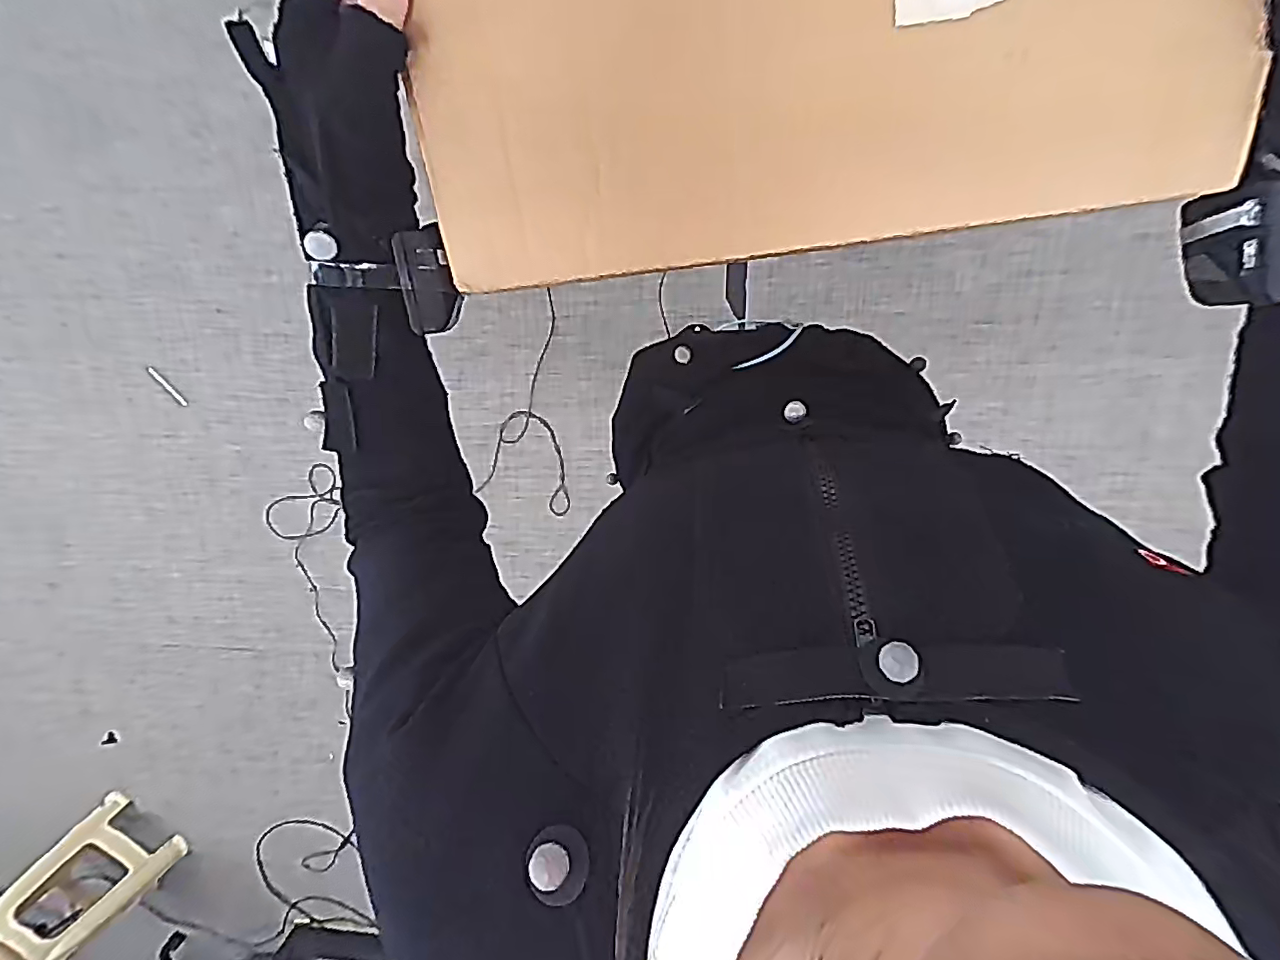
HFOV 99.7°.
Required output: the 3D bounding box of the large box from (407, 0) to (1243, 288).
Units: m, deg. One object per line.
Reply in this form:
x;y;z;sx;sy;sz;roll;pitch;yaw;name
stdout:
0.084;-0.333;0.387;0.408;0.320;0.320;-5;112;7;large box
